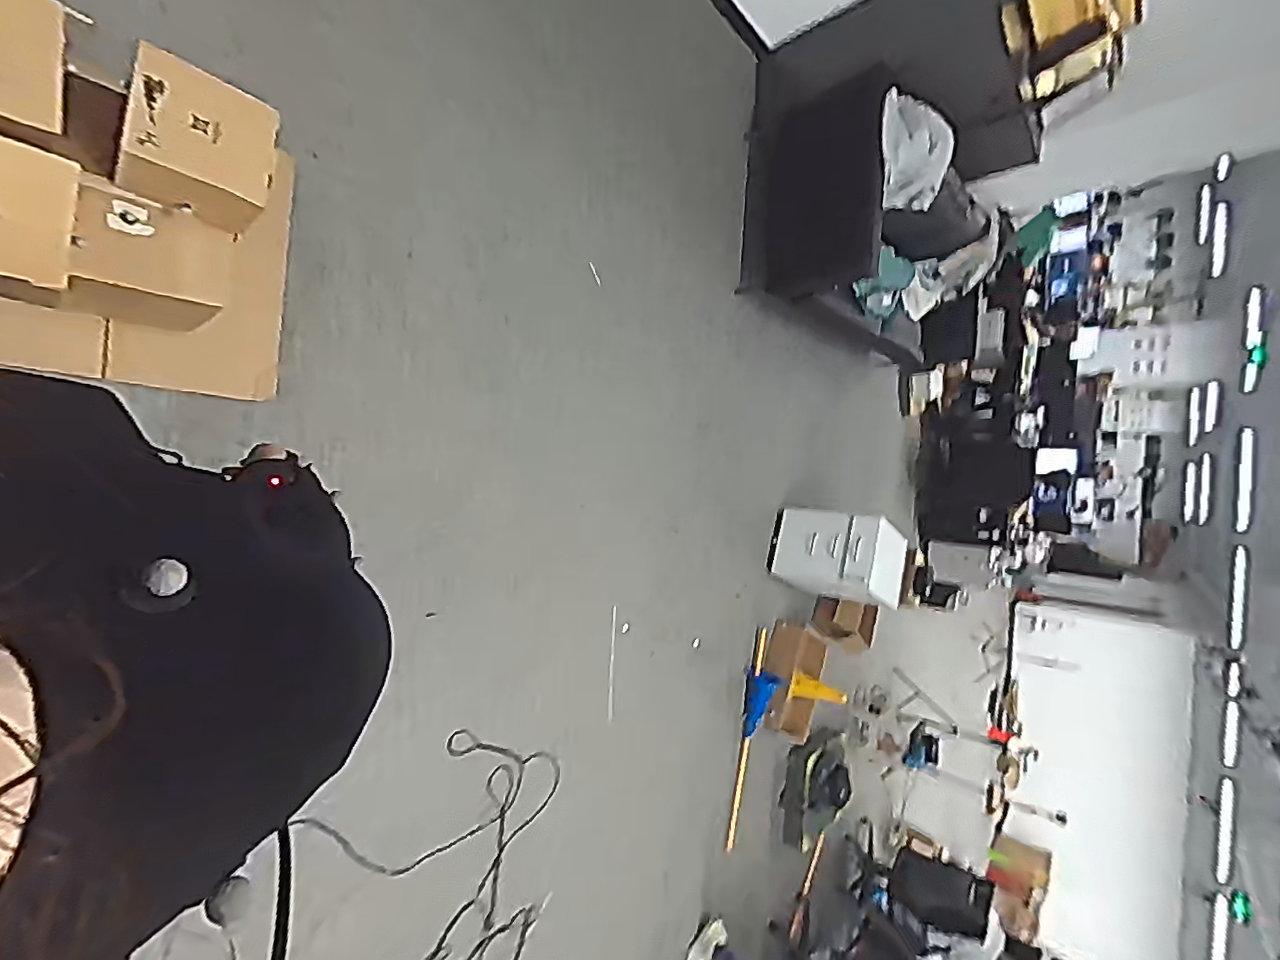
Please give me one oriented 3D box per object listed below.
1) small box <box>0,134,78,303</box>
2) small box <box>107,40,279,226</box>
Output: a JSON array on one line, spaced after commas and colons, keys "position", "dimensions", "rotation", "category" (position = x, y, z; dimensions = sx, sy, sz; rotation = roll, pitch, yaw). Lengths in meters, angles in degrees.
[{"position": [-0.875, -0.352, 0.712], "dimensions": [0.168, 0.176, 0.179], "rotation": [7, 90, -49], "category": "small box"}, {"position": [-0.719, -0.535, 0.871], "dimensions": [0.179, 0.176, 0.168], "rotation": [11, 84, -48], "category": "small box"}]
